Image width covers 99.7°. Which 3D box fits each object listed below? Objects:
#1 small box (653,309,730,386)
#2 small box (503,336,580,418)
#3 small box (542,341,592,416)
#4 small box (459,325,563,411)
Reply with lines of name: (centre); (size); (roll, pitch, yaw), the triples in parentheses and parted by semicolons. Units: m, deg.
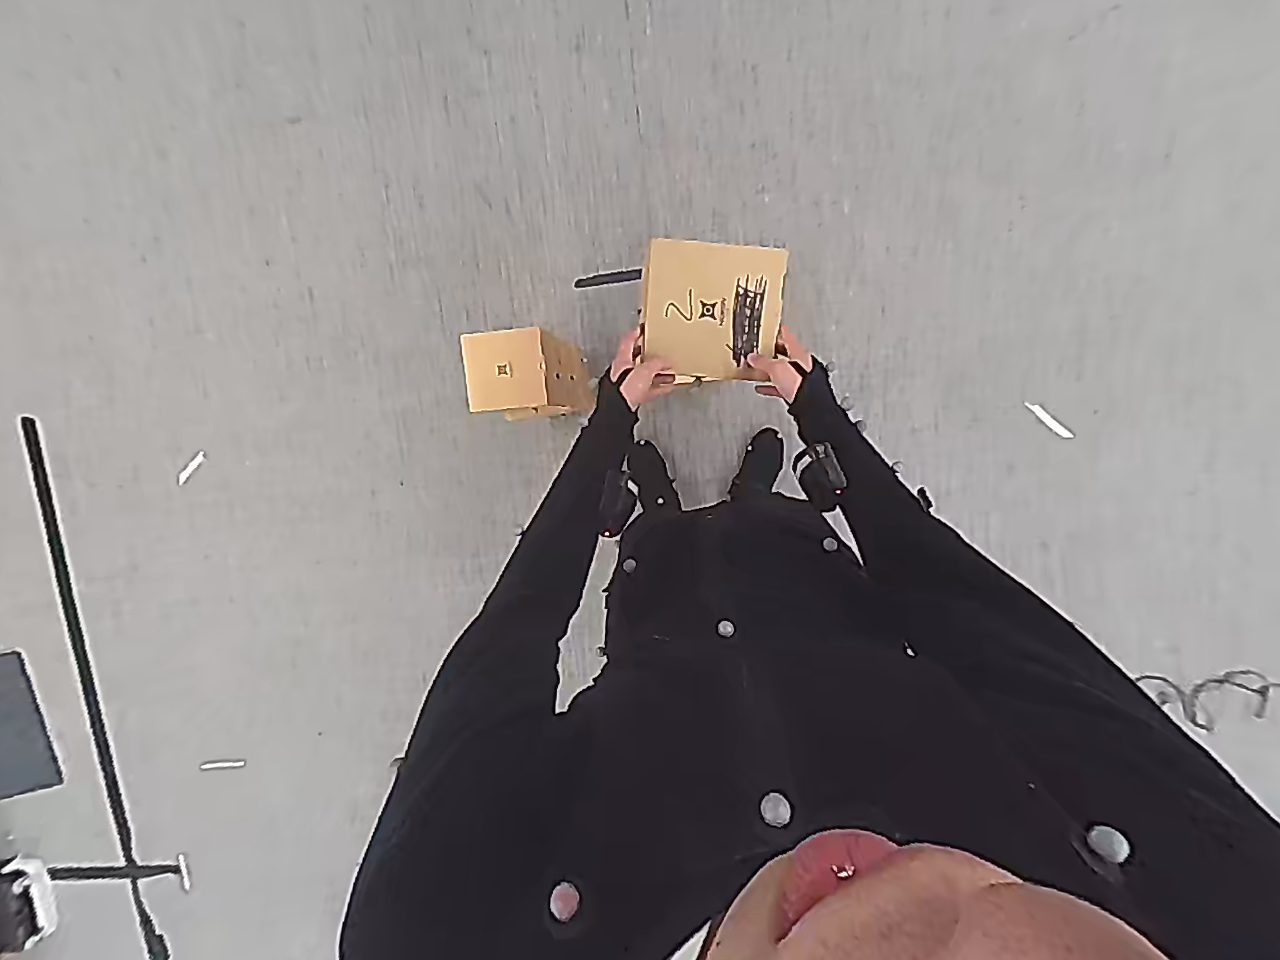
small box: (0.123, -0.324, 1.345); (0.179, 0.176, 0.168); (-4, 96, 3)
small box: (-0.260, -0.255, 1.377); (0.168, 0.176, 0.179); (-10, 97, 6)
small box: (-0.243, -0.281, 1.538); (0.168, 0.176, 0.179); (-12, 96, 5)
small box: (-0.283, -0.245, 1.216); (0.179, 0.176, 0.168); (-5, 97, 4)
